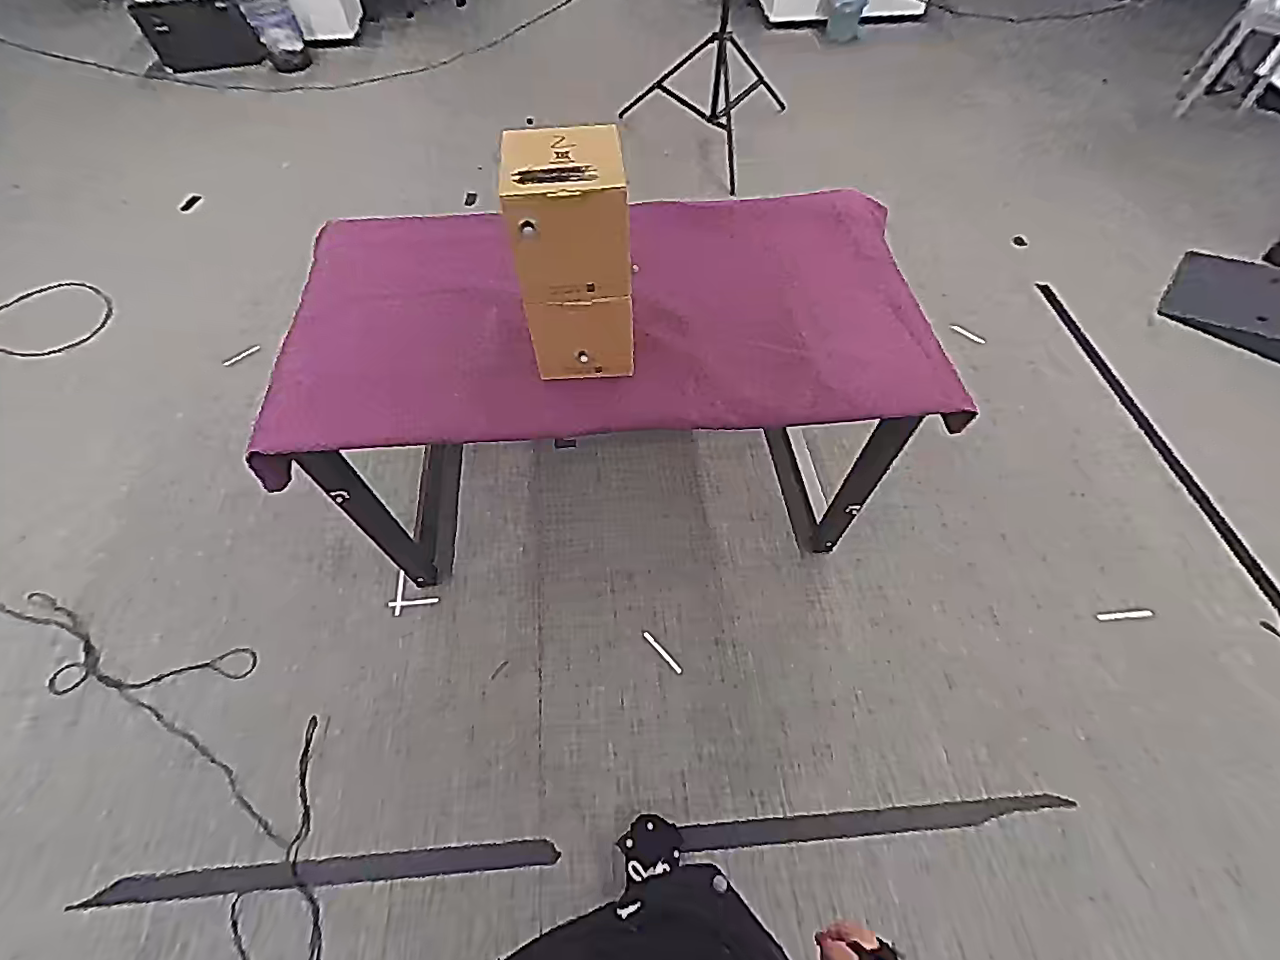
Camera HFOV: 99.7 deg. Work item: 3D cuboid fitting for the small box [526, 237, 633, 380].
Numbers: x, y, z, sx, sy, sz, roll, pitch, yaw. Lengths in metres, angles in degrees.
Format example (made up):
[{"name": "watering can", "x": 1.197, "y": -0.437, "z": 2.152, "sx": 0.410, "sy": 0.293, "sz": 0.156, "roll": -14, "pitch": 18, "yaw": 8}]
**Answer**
[{"name": "small box", "x": -0.097, "y": -0.295, "z": 0.941, "sx": 0.168, "sy": 0.176, "sz": 0.179, "roll": -3, "pitch": 57, "yaw": -1}]
